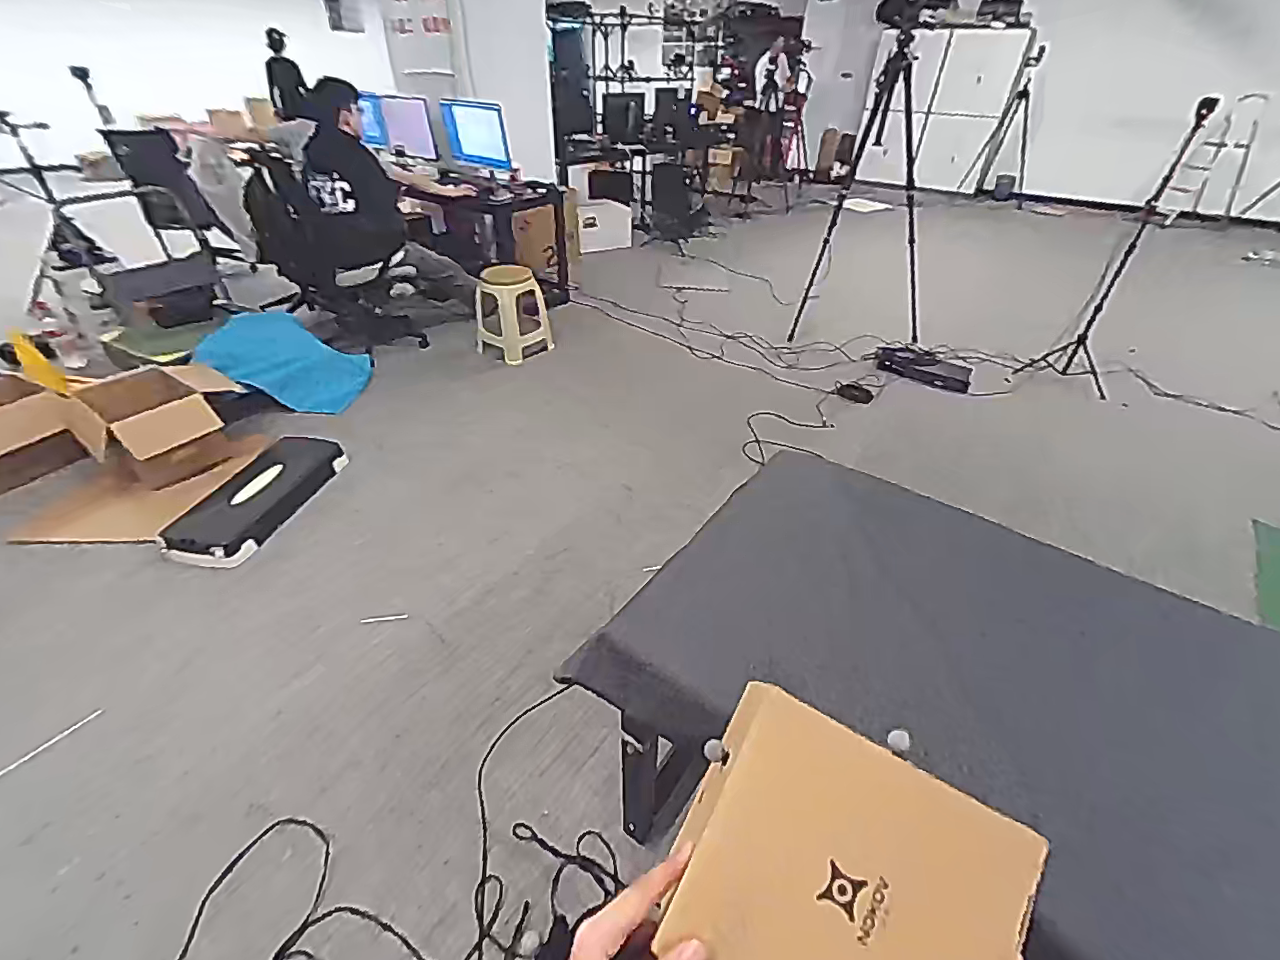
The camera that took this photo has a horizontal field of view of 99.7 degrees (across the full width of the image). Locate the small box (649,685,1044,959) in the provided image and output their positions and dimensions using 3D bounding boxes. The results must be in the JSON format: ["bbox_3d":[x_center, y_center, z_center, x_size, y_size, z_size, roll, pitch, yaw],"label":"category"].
[{"bbox_3d":[0.124,0.265,0.382,0.179,0.176,0.168,26,75,13],"label":"small box"}]
